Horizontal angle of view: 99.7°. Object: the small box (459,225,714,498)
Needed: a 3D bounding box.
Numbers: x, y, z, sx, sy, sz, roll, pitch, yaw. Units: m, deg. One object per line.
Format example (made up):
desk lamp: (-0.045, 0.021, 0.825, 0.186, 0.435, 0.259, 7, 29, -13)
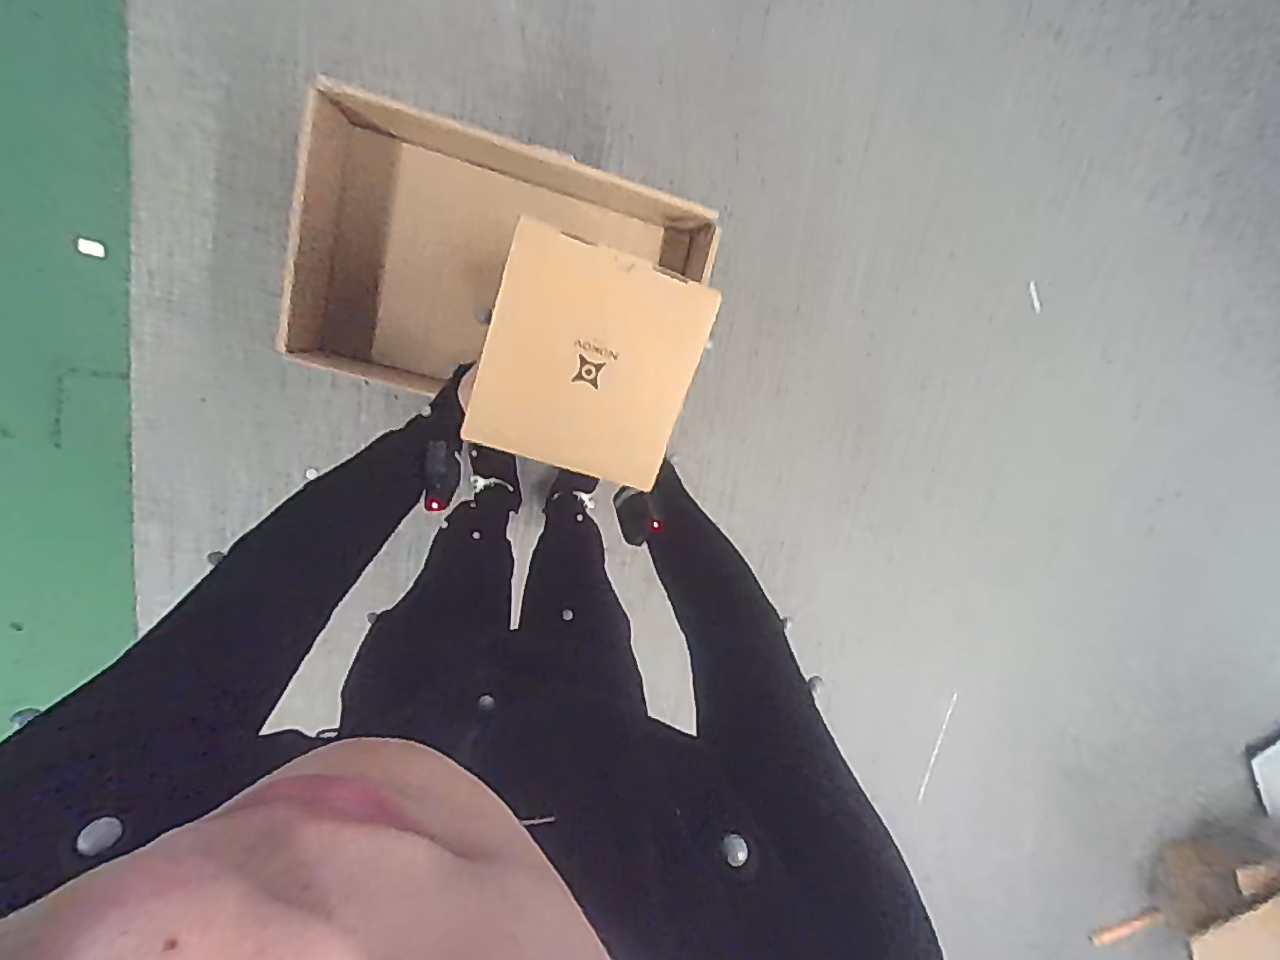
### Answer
small box: (-0.053, -0.108, 0.504, 0.168, 0.176, 0.179, 16, 104, -13)
